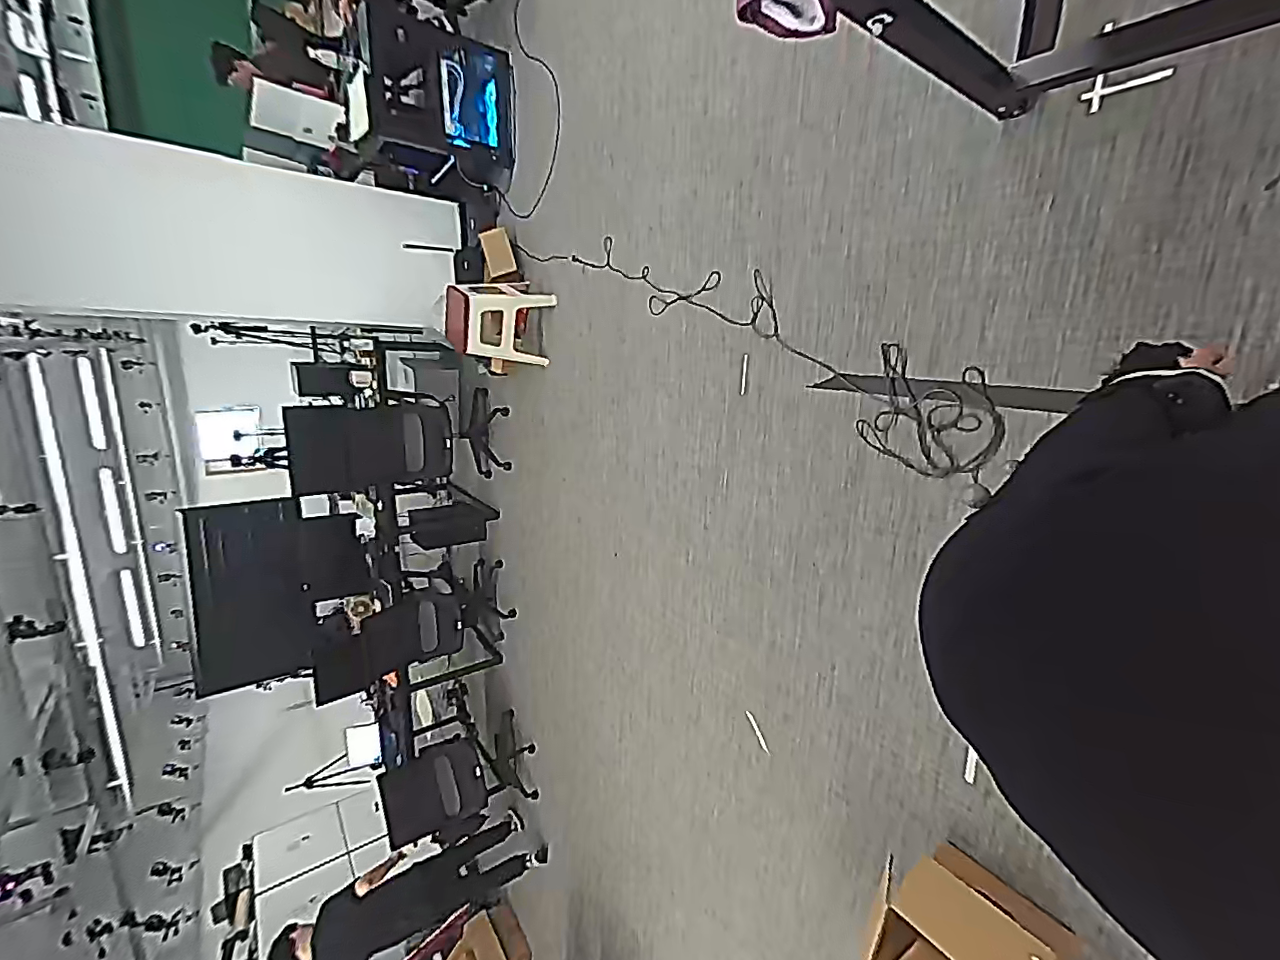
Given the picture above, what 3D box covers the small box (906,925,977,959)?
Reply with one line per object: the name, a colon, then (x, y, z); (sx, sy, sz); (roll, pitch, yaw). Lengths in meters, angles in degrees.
small box: (0.716, 1.206, 1.262); (0.168, 0.176, 0.179); (31, 123, 51)
